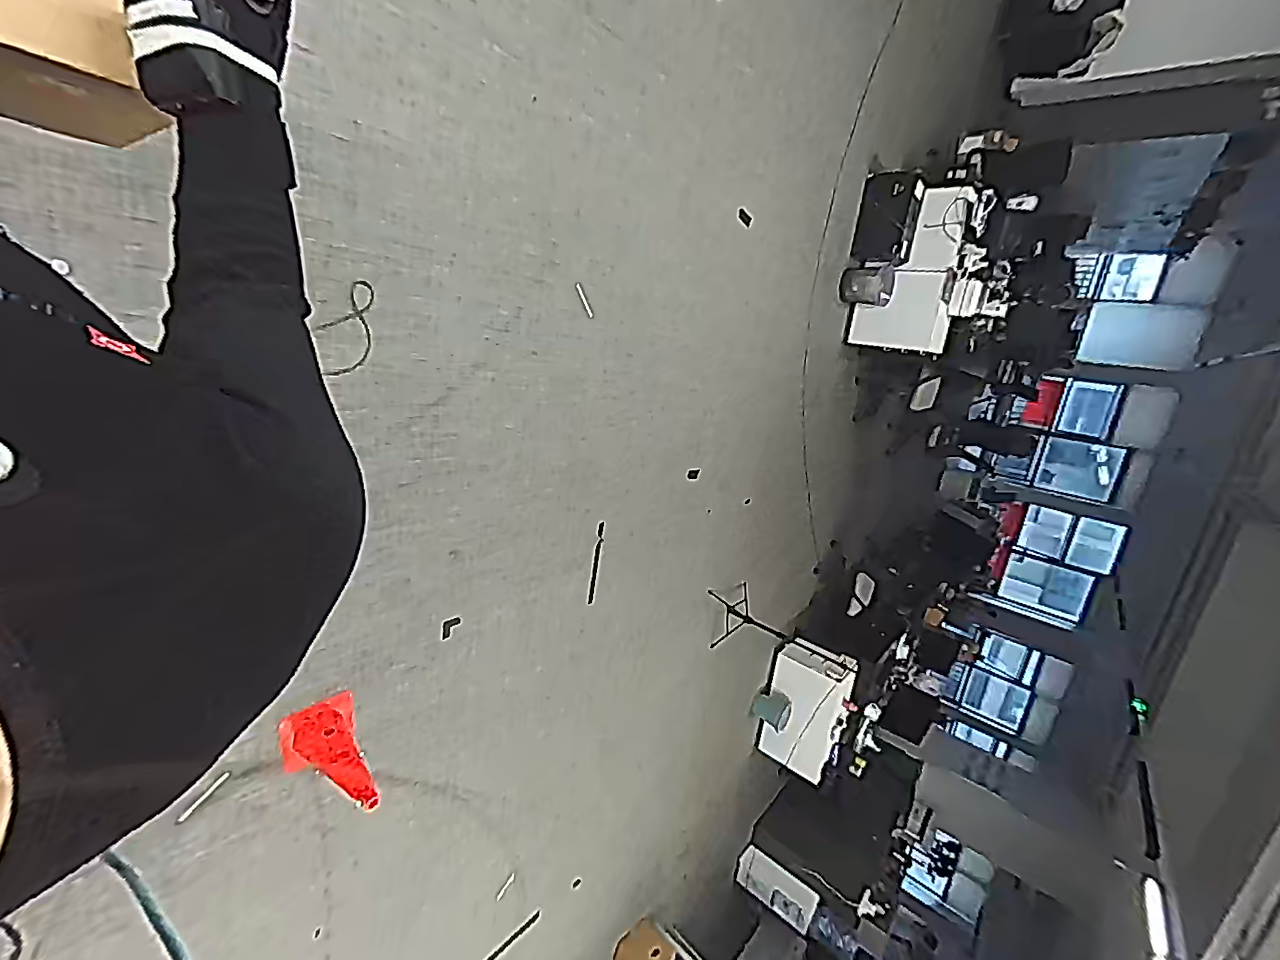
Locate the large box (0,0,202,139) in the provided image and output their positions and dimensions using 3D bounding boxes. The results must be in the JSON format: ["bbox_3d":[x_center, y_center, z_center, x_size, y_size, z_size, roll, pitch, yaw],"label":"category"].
[{"bbox_3d":[-0.551,-0.448,0.305,0.408,0.320,0.320,-9,113,-52],"label":"large box"}]

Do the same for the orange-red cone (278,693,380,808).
[{"bbox_3d":[-0.835,0.797,1.517,0.198,0.360,0.199,-14,115,-50],"label":"orange-red cone"}]
